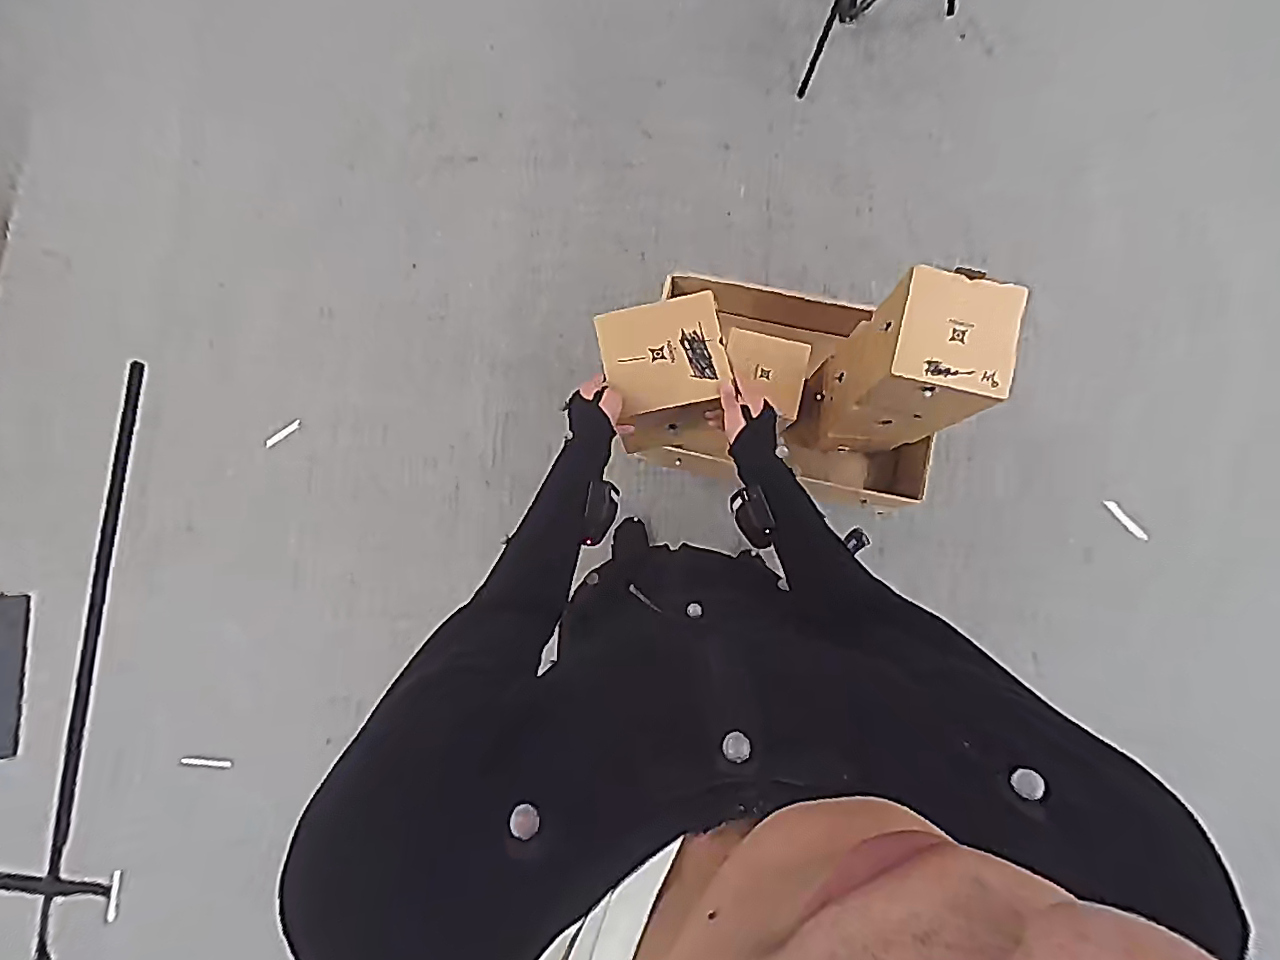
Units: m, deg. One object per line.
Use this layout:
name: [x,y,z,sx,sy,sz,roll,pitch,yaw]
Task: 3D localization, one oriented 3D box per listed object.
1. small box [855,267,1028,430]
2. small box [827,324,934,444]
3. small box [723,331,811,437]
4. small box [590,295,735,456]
small box: [0.455,-0.195,0.842,0.168,0.176,0.179,15,83,6]
small box: [0.461,-0.170,1.004,0.179,0.176,0.168,9,83,4]
small box: [0.251,-0.200,1.183,0.179,0.176,0.168,14,83,3]
small box: [0.034,-0.149,0.821,0.179,0.176,0.168,-12,75,2]
